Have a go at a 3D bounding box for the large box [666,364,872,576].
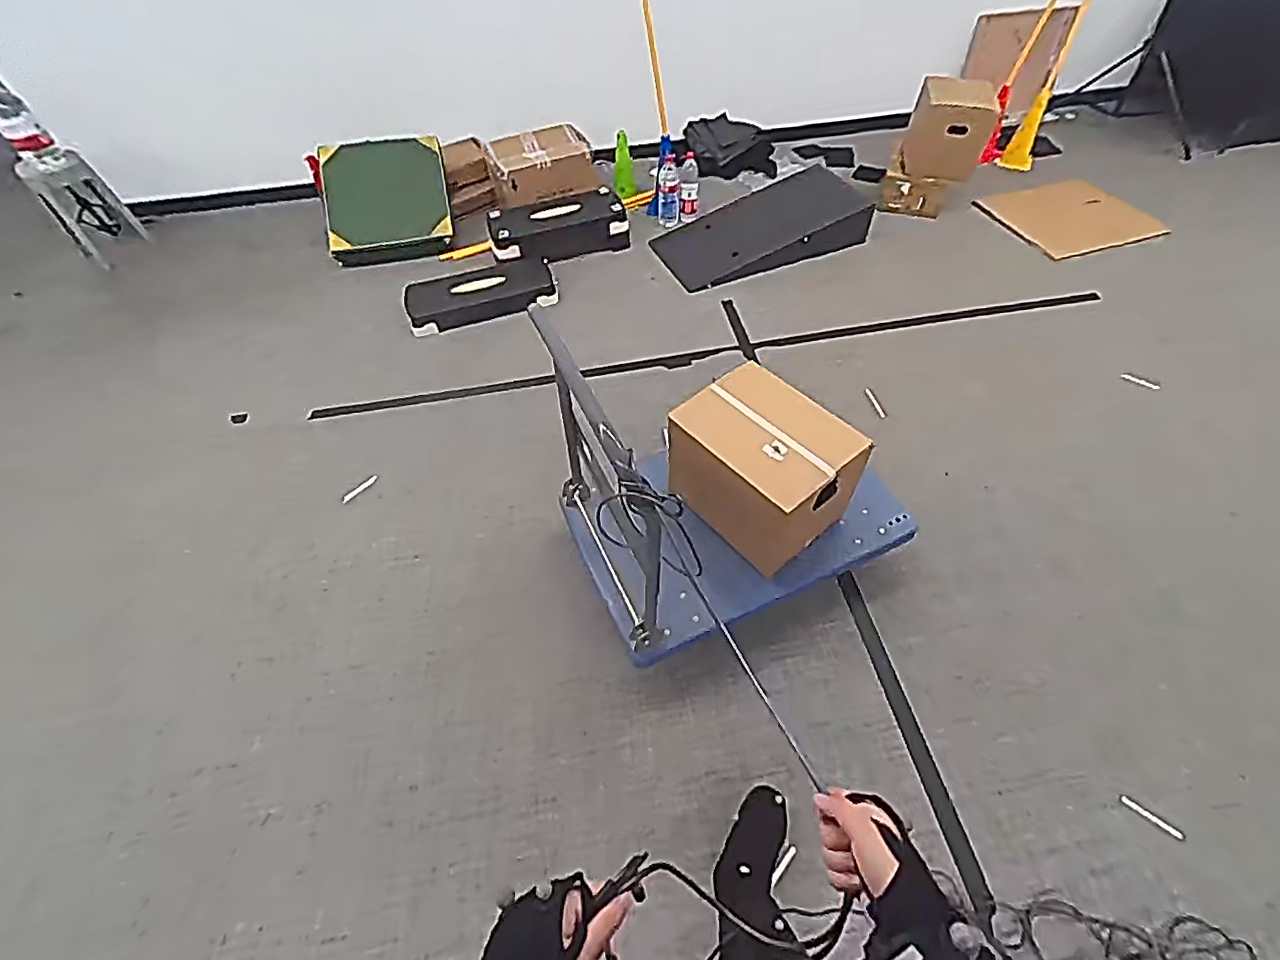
[{"bbox_3d":[0.312,-0.030,1.434,0.320,0.320,0.408,-35,60,-21],"label":"large box"}]
